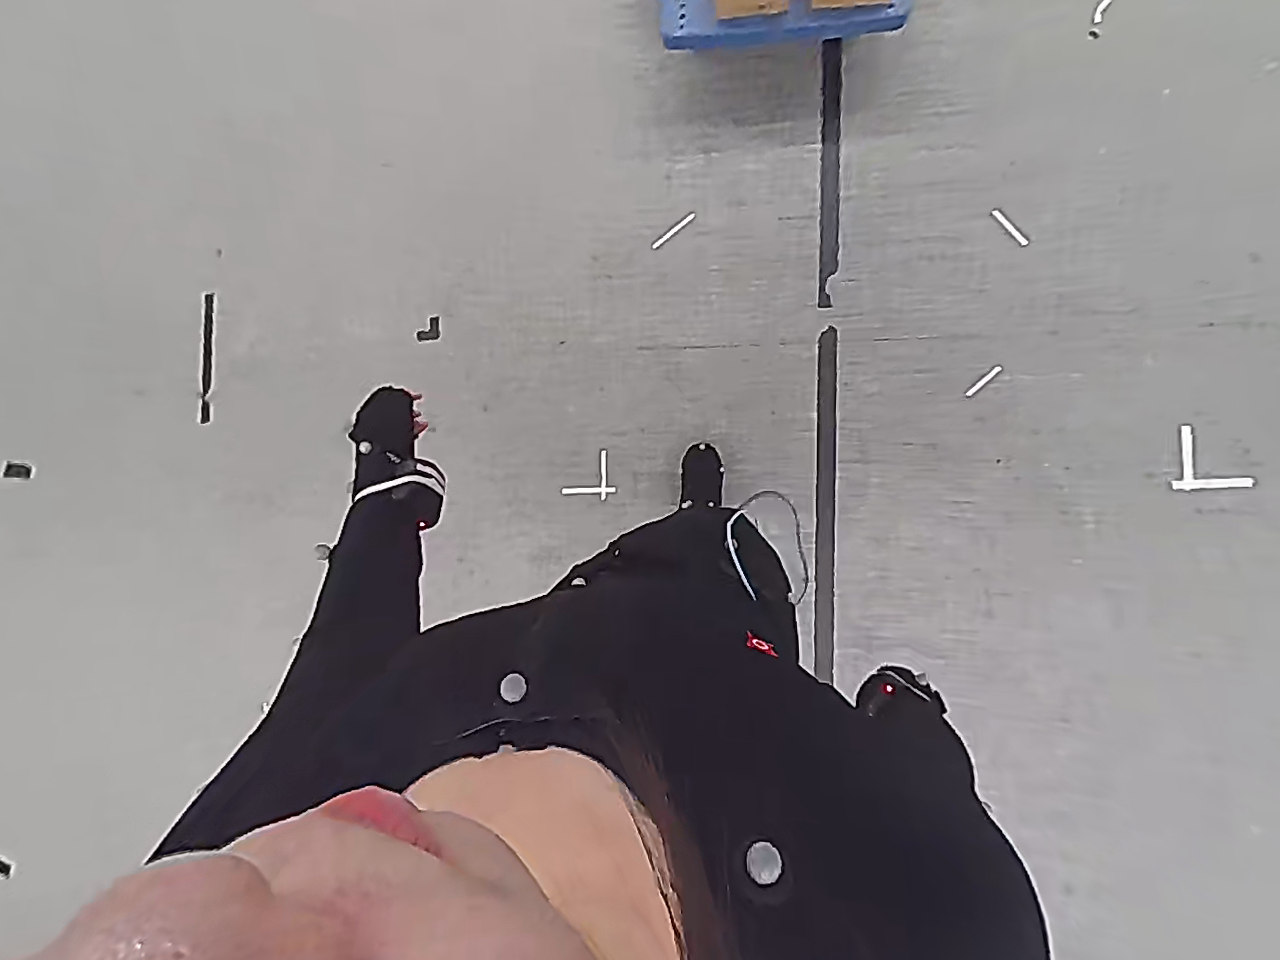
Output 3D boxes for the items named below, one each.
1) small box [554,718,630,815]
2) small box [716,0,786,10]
[{"bbox_3d":[-0.125,0.754,1.440,0.179,0.176,0.168,2,91,8],"label":"small box"},{"bbox_3d":[0.249,-1.185,1.190,0.168,0.176,0.179,-1,89,7],"label":"small box"}]
